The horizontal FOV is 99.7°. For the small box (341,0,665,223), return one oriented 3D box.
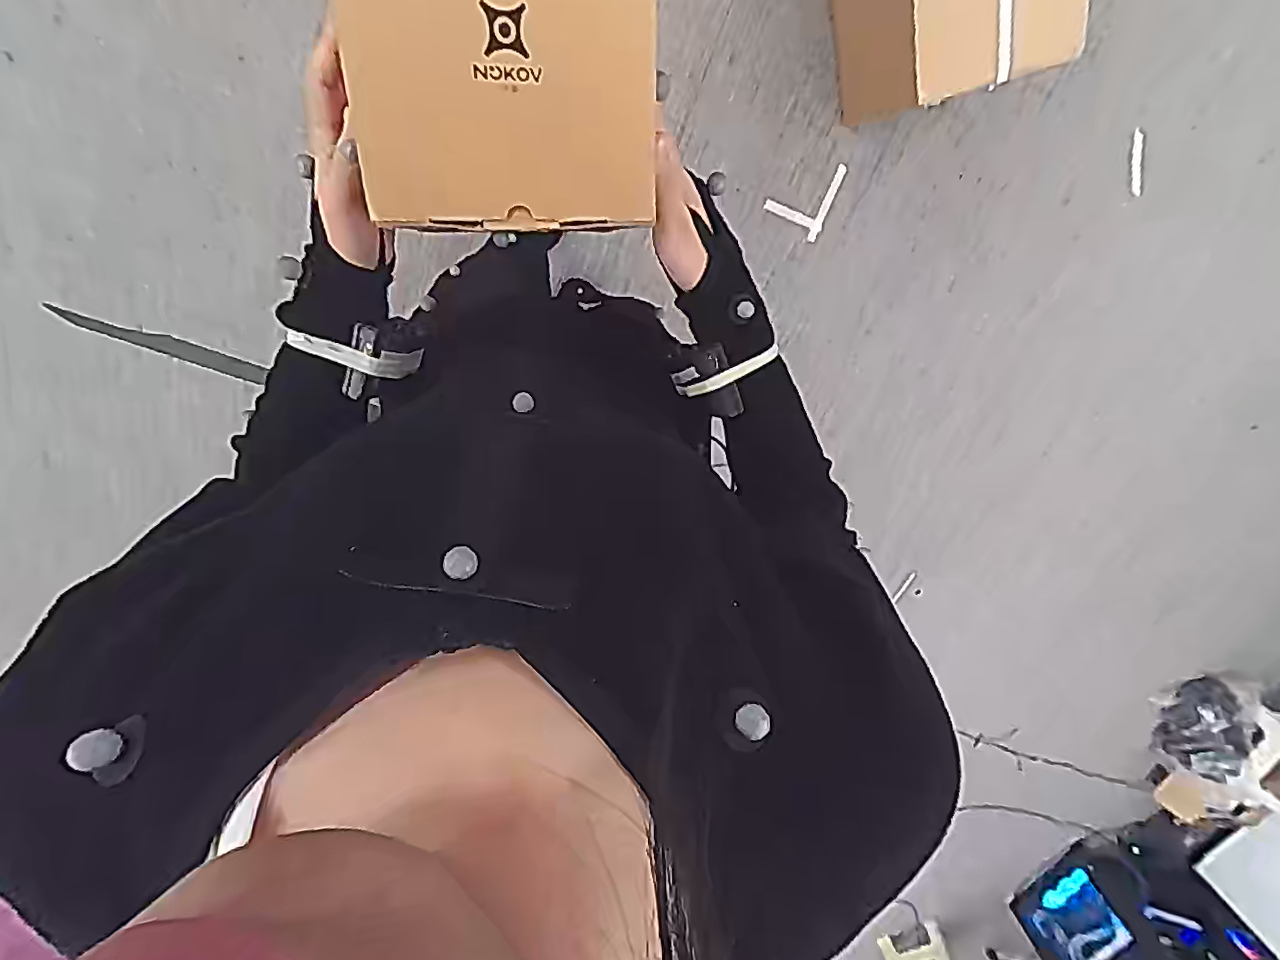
[{"bbox_3d":[-0.085,-0.266,0.352,0.168,0.176,0.179,-6,116,-11],"label":"small box"}]
